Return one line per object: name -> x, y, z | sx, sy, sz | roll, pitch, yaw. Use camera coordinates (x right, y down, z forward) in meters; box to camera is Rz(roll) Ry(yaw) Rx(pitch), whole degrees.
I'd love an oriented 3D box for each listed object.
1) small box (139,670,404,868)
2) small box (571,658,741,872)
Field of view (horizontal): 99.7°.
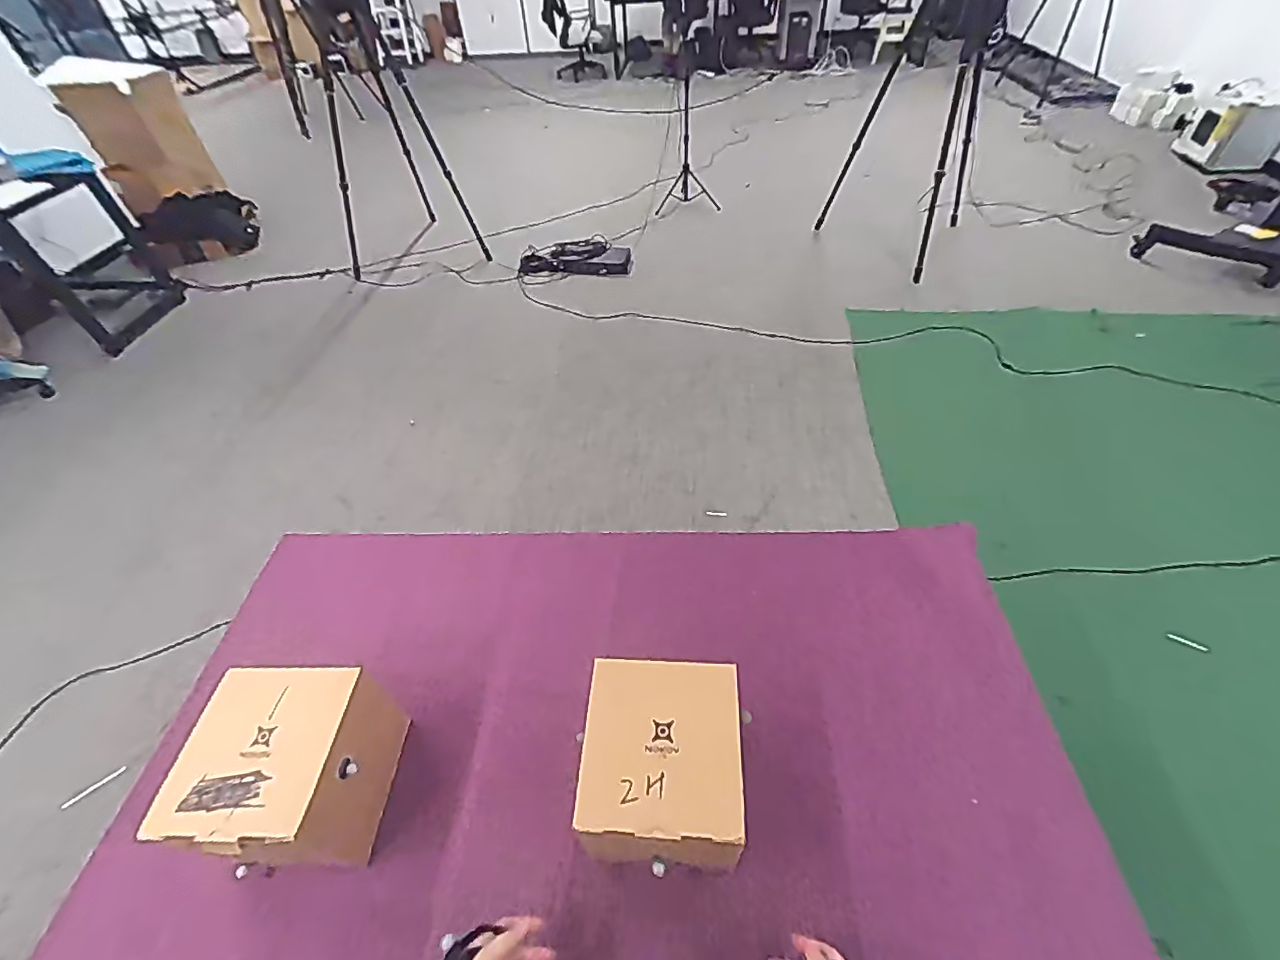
small box -> -0.408, 0.345, 0.643 | 0.168, 0.176, 0.179 | -1, 46, 3
small box -> 0.025, 0.328, 0.624 | 0.168, 0.176, 0.179 | 1, 47, 6
